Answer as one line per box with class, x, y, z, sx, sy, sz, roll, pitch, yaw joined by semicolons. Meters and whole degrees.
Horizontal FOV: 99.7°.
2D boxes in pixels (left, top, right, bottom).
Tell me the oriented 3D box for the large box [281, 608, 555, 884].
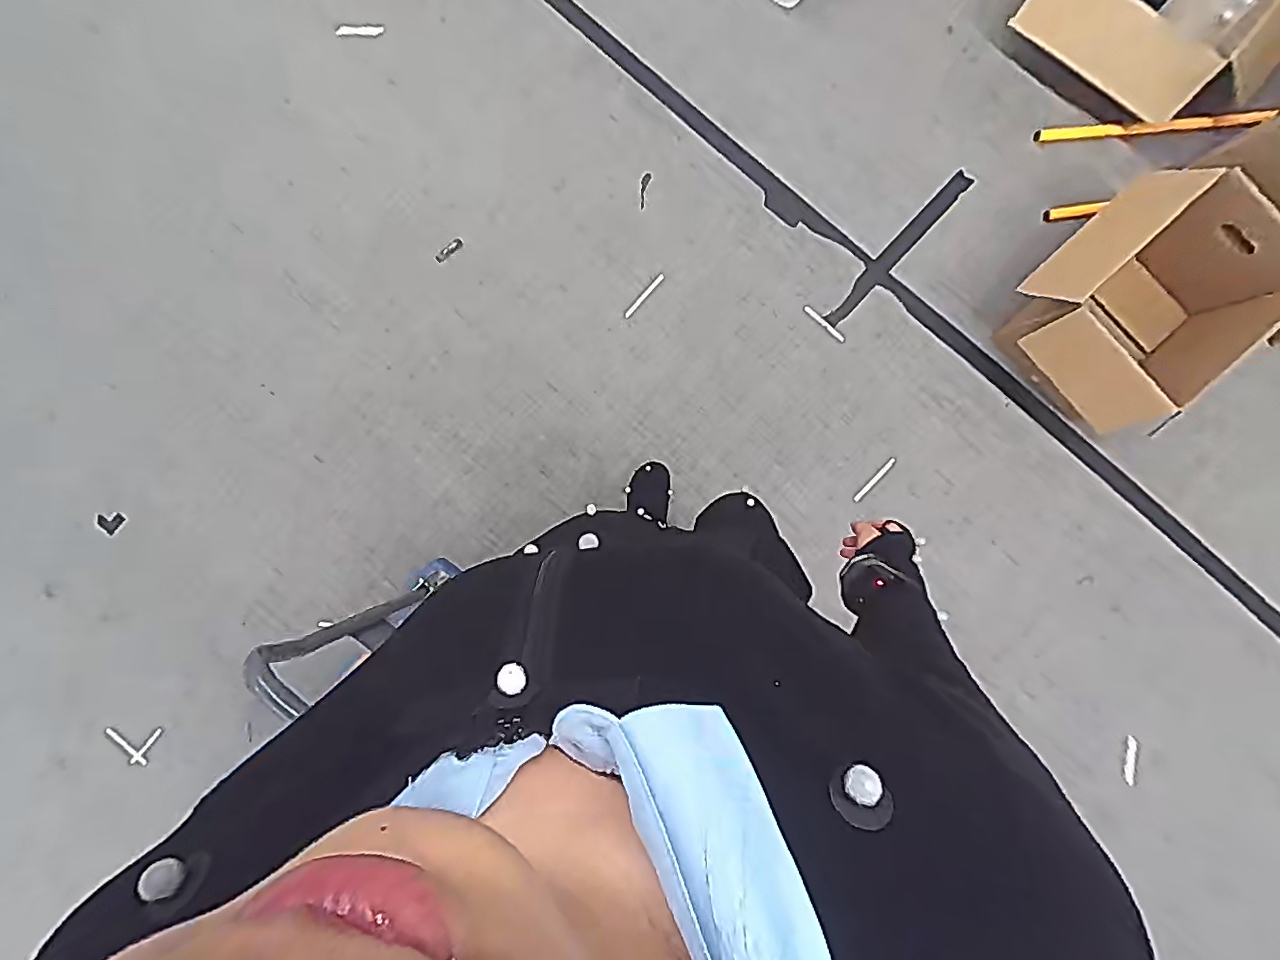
large box;-0.462;0.559;1.212;0.408;0.320;0.320;40;92;2
